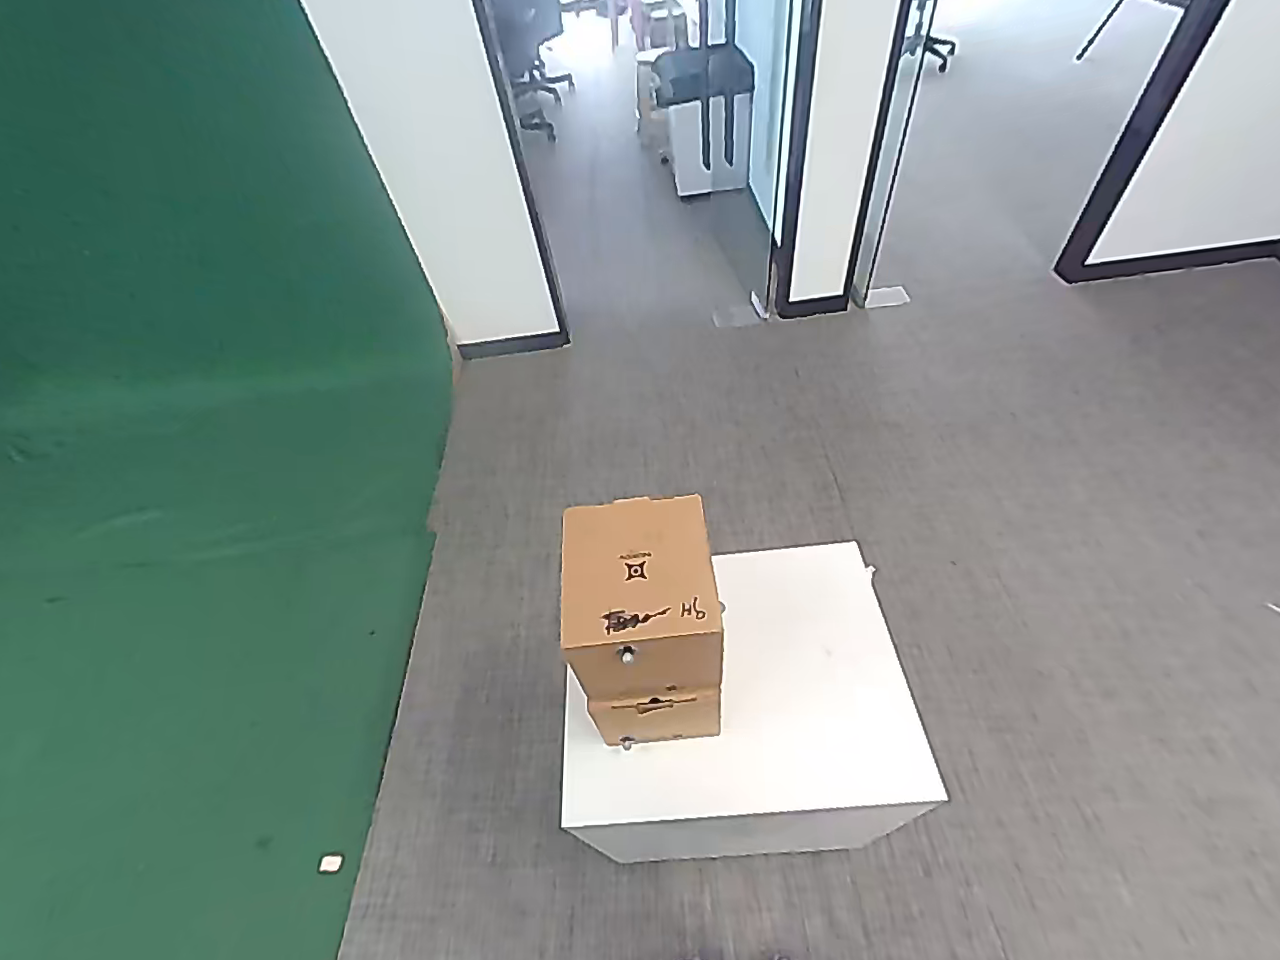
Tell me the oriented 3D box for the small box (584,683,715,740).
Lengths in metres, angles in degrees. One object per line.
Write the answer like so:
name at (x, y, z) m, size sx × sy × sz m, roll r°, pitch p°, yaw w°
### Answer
small box at (0.016, 0.260, 0.775) m, size 0.168 × 0.176 × 0.179 m, roll -6°, pitch 49°, yaw 2°

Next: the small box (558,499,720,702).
small box at (0.002, 0.148, 0.657) m, size 0.168 × 0.176 × 0.179 m, roll -7°, pitch 49°, yaw 3°
